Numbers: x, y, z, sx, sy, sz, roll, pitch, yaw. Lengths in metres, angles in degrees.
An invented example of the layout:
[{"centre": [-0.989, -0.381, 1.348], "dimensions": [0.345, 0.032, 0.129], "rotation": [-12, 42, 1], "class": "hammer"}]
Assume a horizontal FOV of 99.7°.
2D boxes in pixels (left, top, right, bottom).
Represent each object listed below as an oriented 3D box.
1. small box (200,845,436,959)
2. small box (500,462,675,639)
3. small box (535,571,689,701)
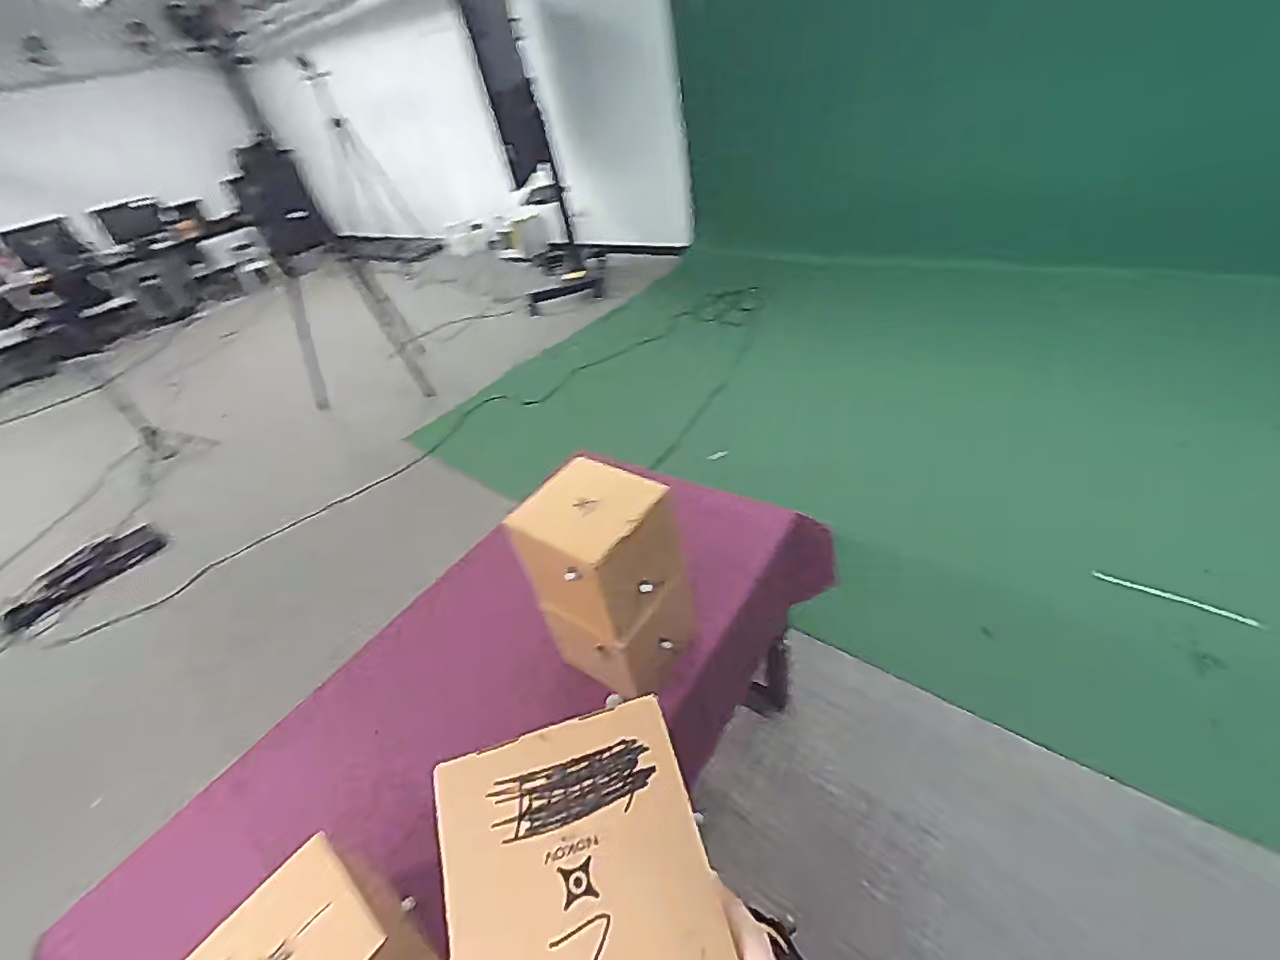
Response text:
[{"centre": [-0.351, 0.556, 0.584], "dimensions": [0.168, 0.176, 0.179], "rotation": [20, 48, 35], "class": "small box"}, {"centre": [-0.069, 0.102, 0.799], "dimensions": [0.179, 0.176, 0.168], "rotation": [18, 48, 33], "class": "small box"}, {"centre": [-0.036, 0.232, 0.892], "dimensions": [0.179, 0.176, 0.168], "rotation": [17, 47, 33], "class": "small box"}]
